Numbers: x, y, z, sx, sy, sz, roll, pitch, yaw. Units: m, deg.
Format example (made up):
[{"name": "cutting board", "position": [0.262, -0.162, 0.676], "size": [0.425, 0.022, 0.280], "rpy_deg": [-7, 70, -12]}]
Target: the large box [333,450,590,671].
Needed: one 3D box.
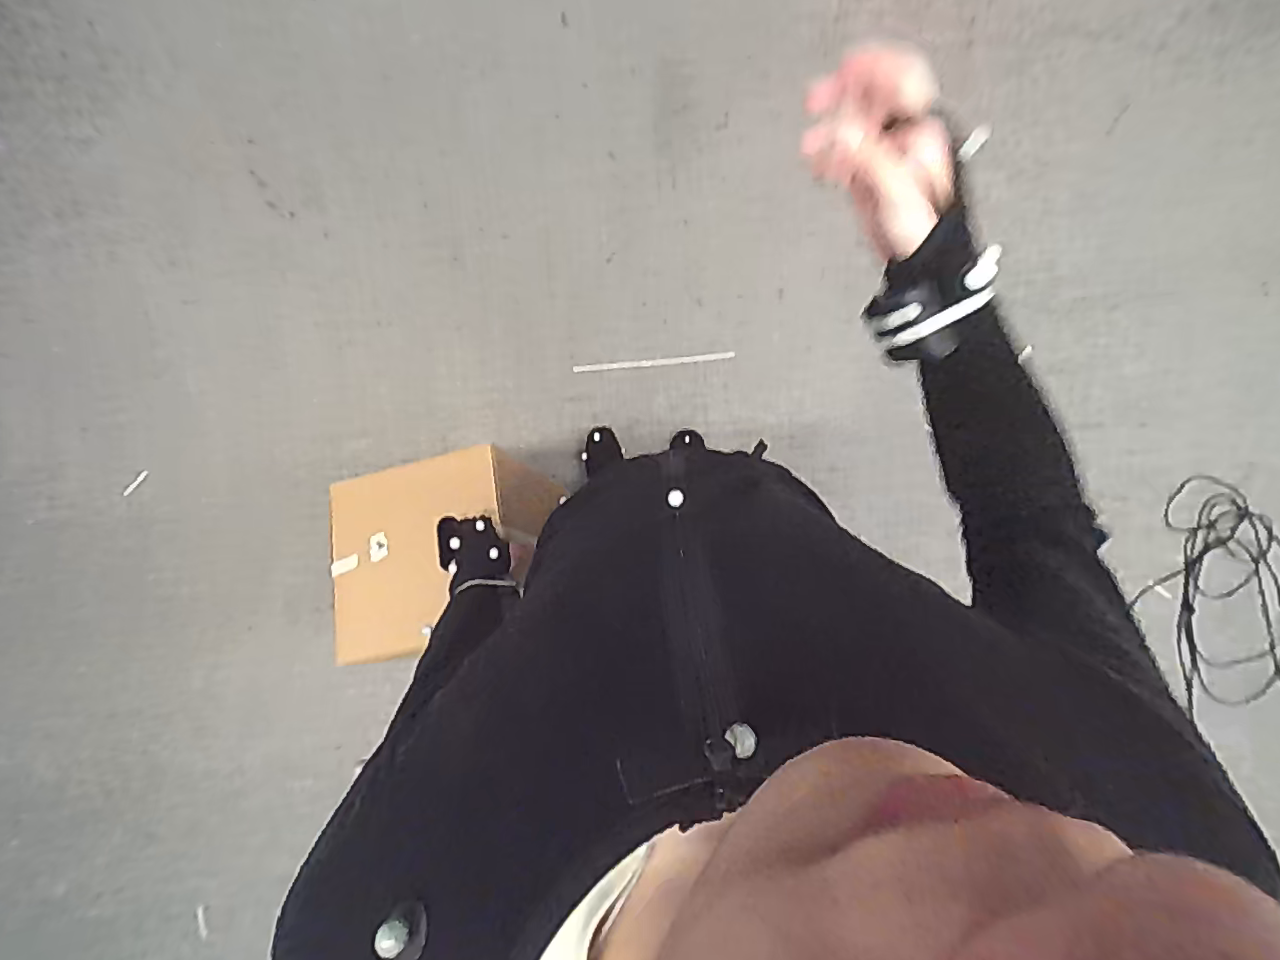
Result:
[{"name": "large box", "position": [-0.325, 0.169, 1.070], "size": [0.320, 0.408, 0.320], "rpy_deg": [-14, 75, 8]}]
